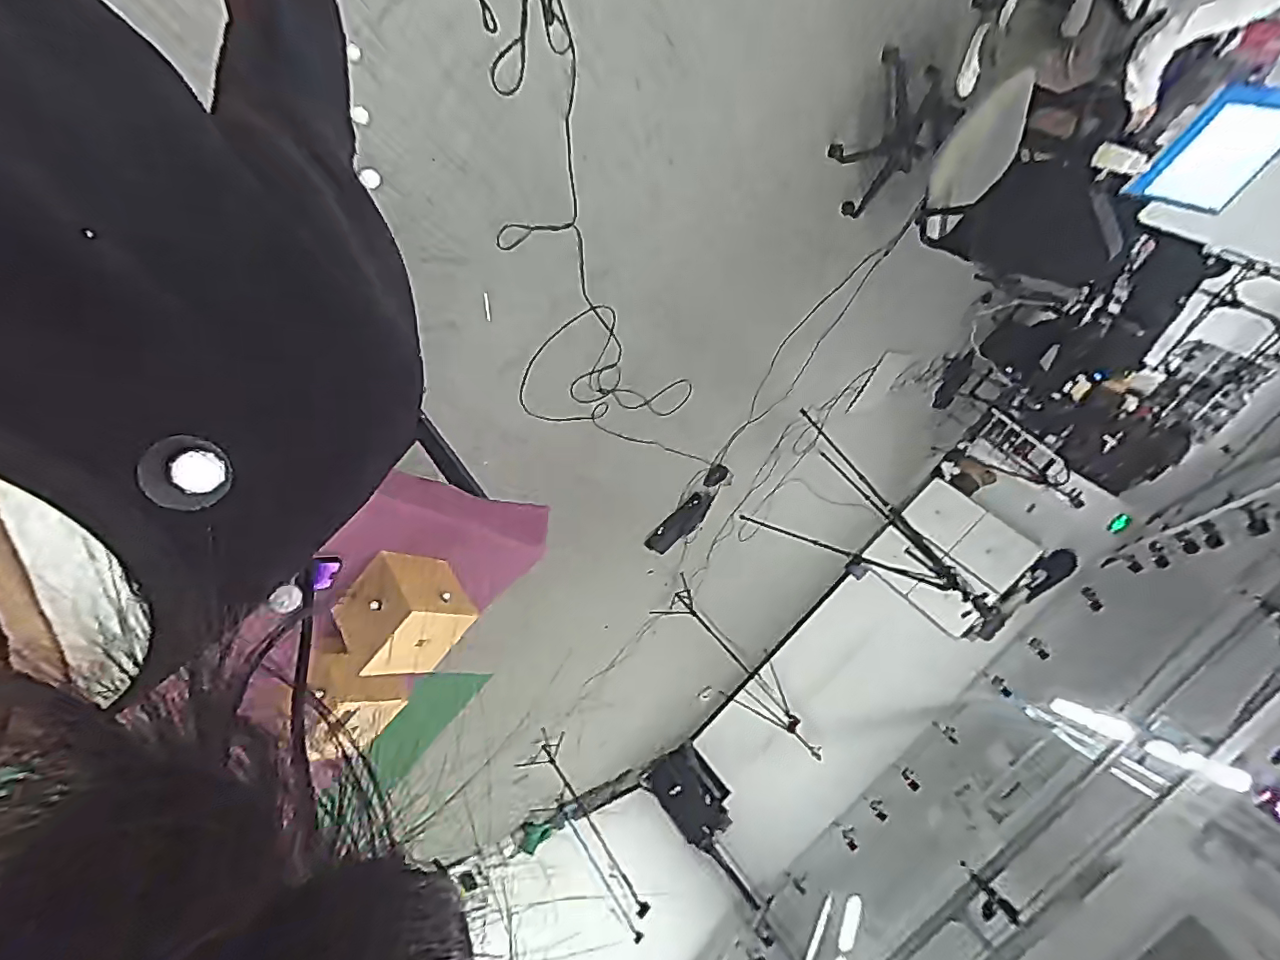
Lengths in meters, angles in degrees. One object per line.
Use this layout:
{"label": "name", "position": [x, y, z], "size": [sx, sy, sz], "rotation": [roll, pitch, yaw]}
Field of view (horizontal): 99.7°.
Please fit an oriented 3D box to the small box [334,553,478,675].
{"label": "small box", "position": [-0.472, 0.265, 1.085], "size": [0.168, 0.176, 0.179], "rotation": [-49, 151, 6]}
